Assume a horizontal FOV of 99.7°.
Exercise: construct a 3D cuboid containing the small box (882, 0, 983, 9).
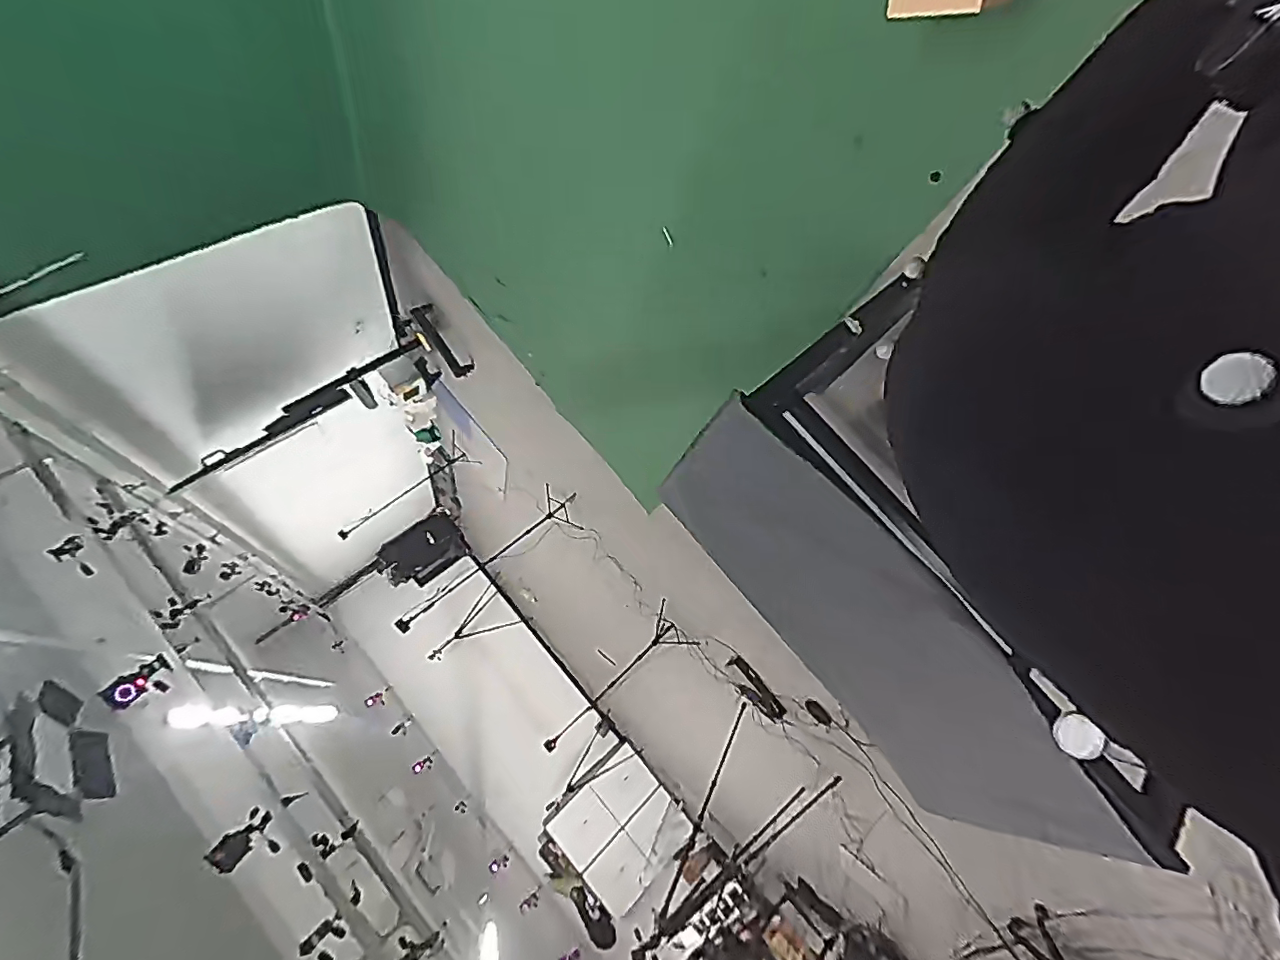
[{"bbox_3d":[0.577,-0.974,0.979,0.179,0.176,0.168,33,148,34],"label":"small box"}]
